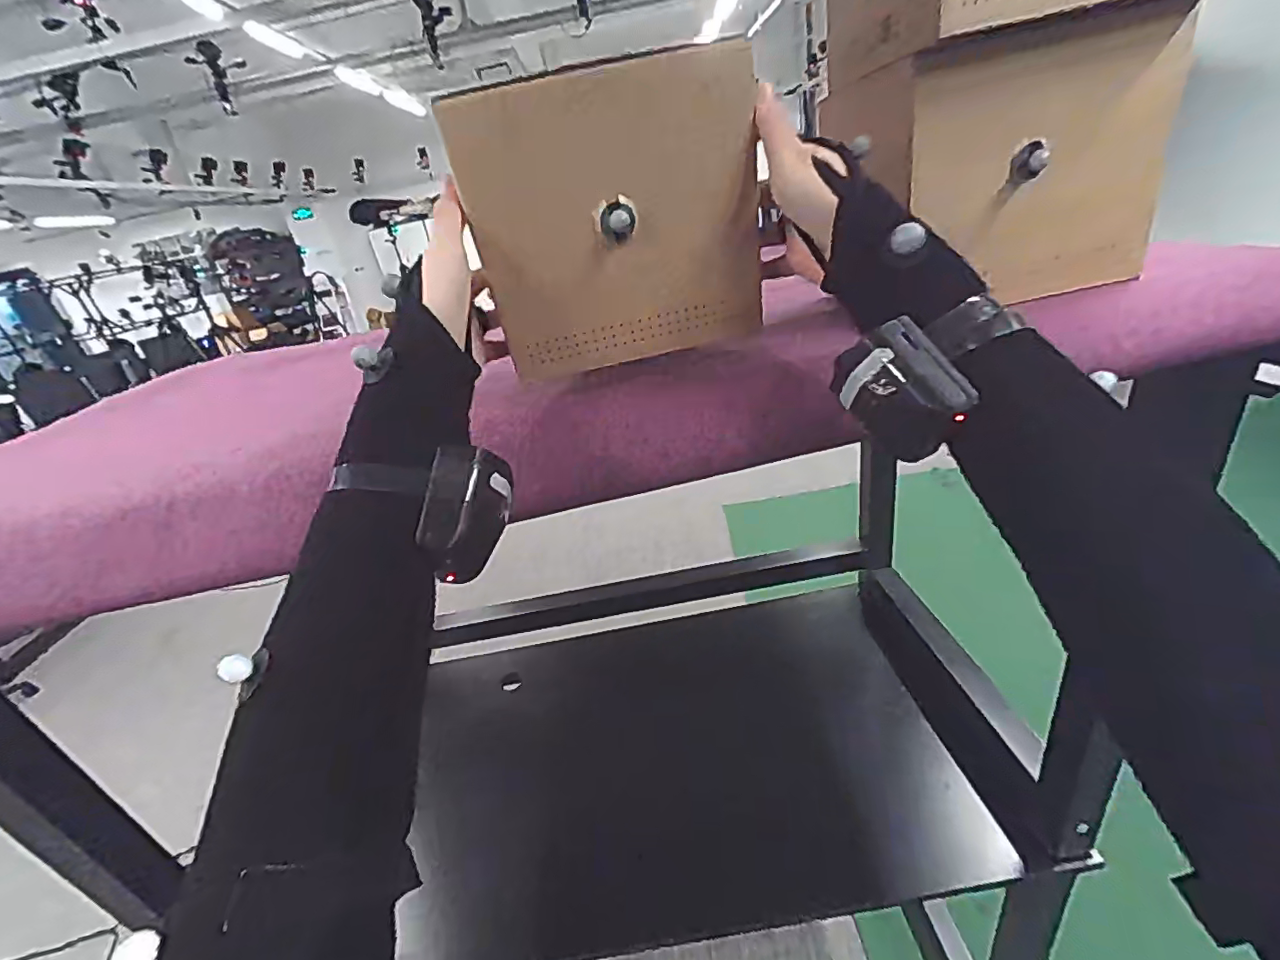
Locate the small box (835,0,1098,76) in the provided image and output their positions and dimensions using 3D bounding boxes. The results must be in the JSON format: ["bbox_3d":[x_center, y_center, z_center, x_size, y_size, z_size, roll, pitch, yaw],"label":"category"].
[{"bbox_3d":[0.230,-0.375,0.332,0.179,0.176,0.168,-11,27,2],"label":"small box"}]

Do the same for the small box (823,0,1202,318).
[{"bbox_3d":[0.258,-0.241,0.426,0.179,0.176,0.168,-12,27,3],"label":"small box"}]
